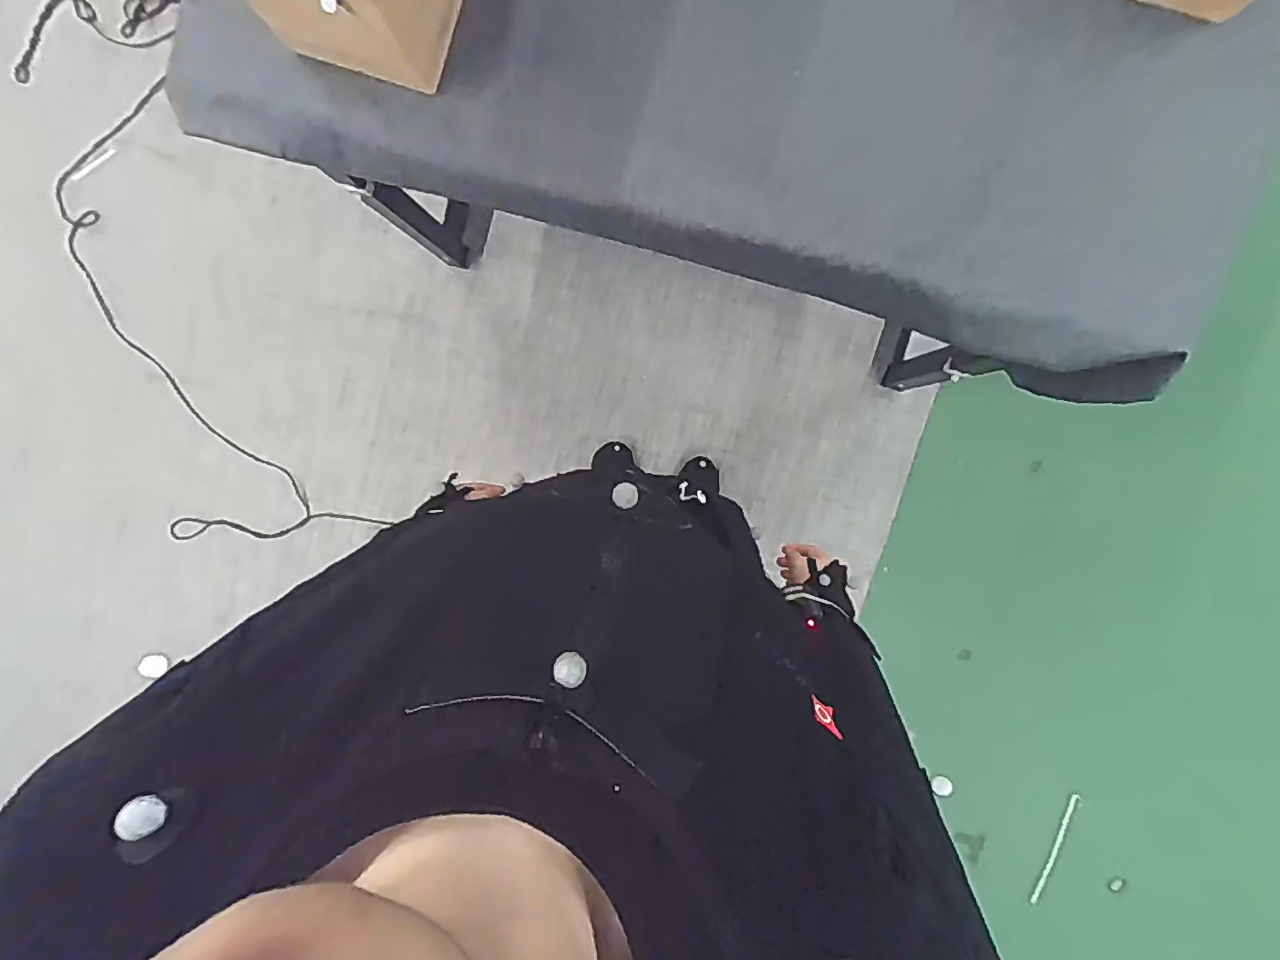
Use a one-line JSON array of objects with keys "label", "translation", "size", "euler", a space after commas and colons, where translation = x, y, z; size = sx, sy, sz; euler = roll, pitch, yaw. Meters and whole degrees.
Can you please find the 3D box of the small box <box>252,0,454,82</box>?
[{"label": "small box", "translation": [-0.292, -0.537, 0.527], "size": [0.179, 0.176, 0.168], "euler": [18, 94, 1]}]
